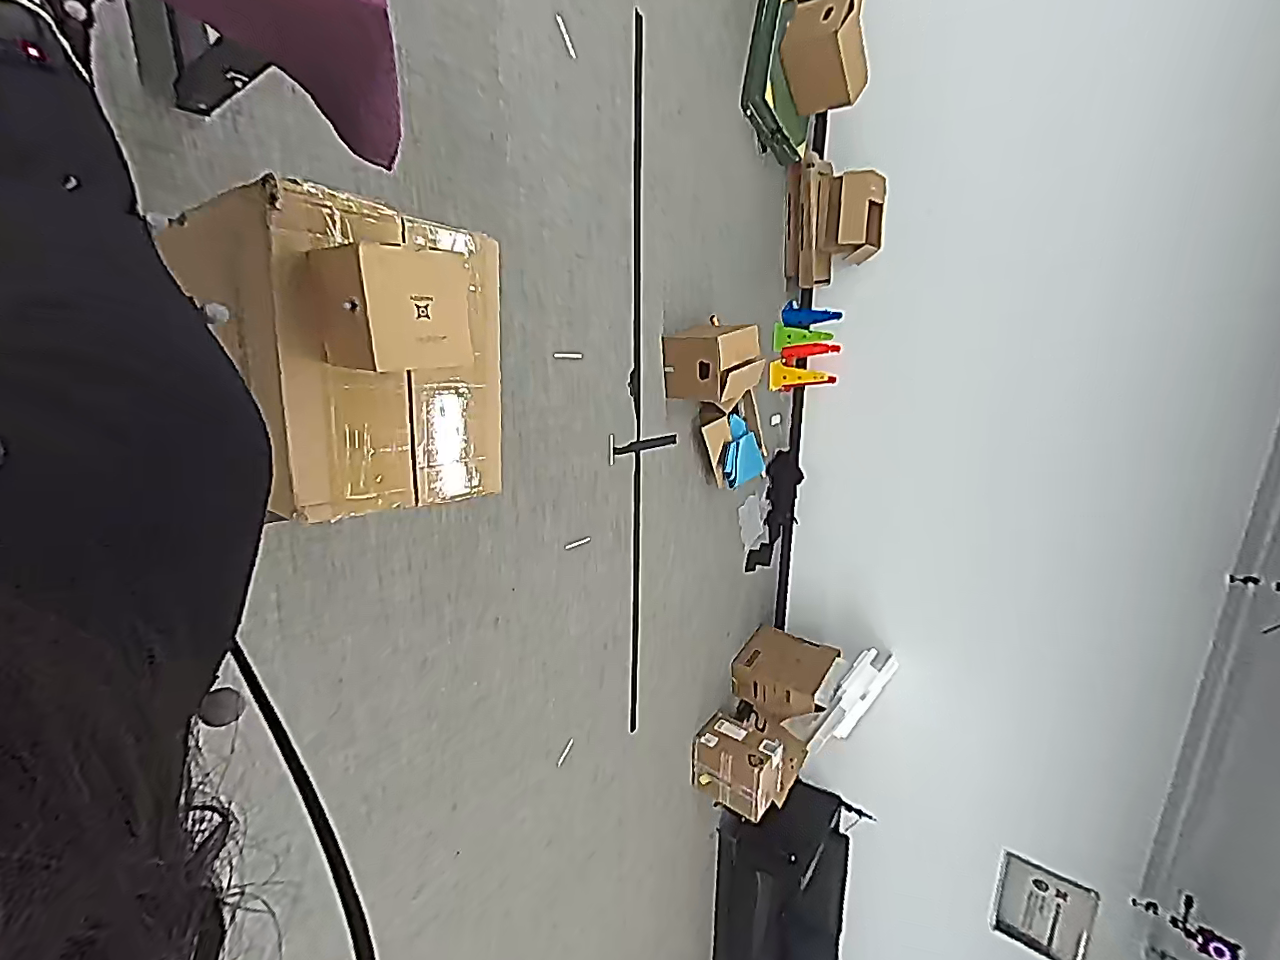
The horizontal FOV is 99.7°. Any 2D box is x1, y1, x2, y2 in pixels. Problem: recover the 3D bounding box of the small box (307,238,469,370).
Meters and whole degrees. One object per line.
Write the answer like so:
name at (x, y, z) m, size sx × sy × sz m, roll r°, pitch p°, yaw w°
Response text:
small box at (-0.394, -0.269, 0.846) m, size 0.168 × 0.176 × 0.179 m, roll -20°, pitch 116°, yaw -48°
